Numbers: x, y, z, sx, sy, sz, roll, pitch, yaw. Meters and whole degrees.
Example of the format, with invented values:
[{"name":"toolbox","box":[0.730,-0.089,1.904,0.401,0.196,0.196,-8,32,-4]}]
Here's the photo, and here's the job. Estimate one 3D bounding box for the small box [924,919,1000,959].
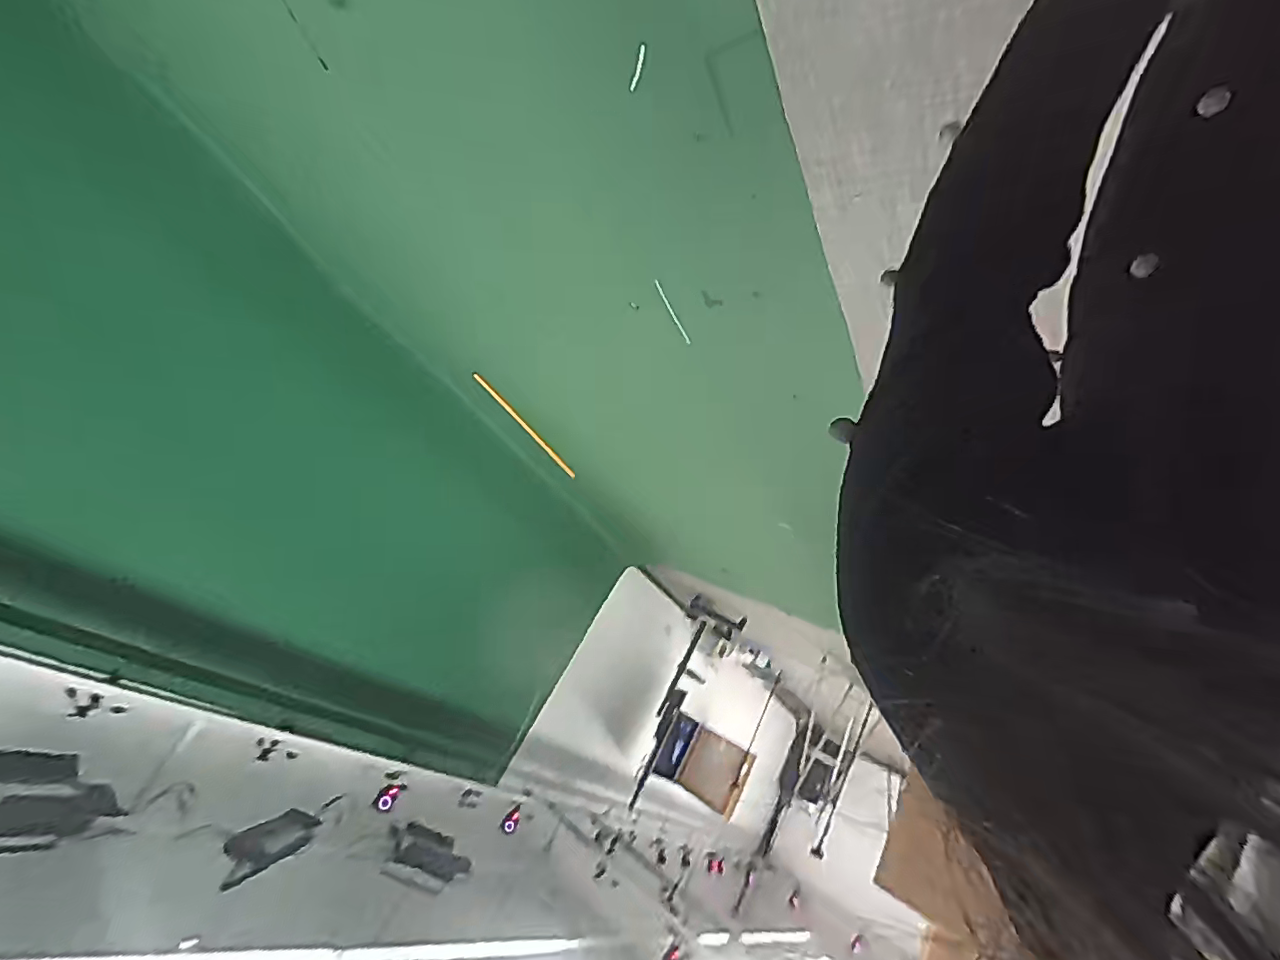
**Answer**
[{"name":"small box","box":[0.988,1.499,1.663,0.168,0.176,0.179,20,155,29]}]
